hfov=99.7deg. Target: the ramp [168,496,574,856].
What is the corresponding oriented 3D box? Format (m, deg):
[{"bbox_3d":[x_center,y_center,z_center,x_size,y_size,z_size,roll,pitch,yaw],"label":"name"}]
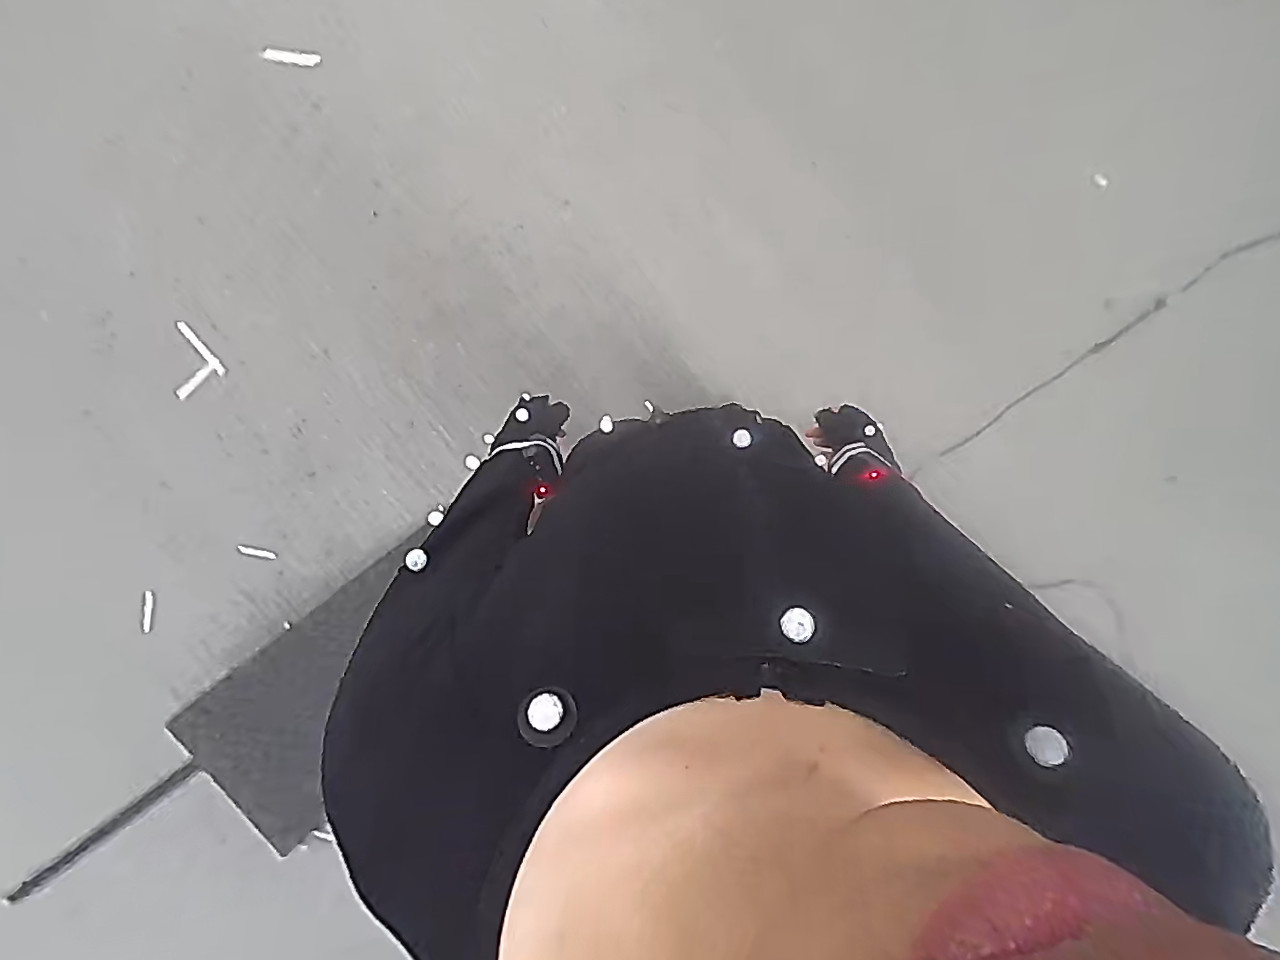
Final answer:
[{"bbox_3d":[-0.720,0.527,1.489,0.991,0.206,0.509,-39,93,6],"label":"ramp"}]
